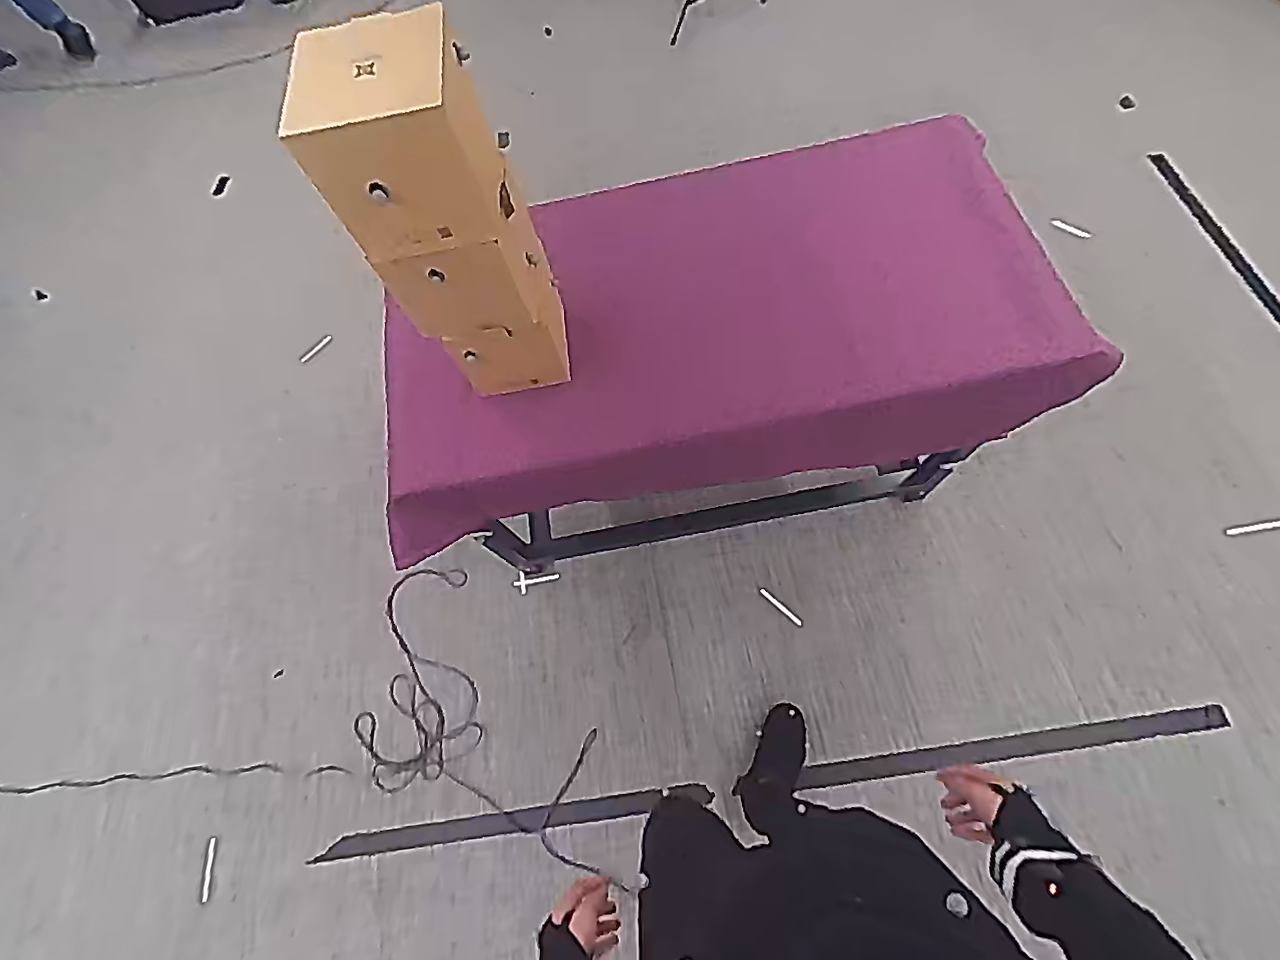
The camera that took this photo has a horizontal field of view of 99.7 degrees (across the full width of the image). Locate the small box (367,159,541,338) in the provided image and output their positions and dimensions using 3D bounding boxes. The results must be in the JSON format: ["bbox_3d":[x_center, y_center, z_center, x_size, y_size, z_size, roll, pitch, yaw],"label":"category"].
[{"bbox_3d":[-0.254,-0.322,0.780,0.179,0.176,0.168,-4,68,5],"label":"small box"}]

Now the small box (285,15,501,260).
[{"bbox_3d":[-0.269,-0.380,0.628,0.168,0.176,0.179,-10,66,2],"label":"small box"}]
